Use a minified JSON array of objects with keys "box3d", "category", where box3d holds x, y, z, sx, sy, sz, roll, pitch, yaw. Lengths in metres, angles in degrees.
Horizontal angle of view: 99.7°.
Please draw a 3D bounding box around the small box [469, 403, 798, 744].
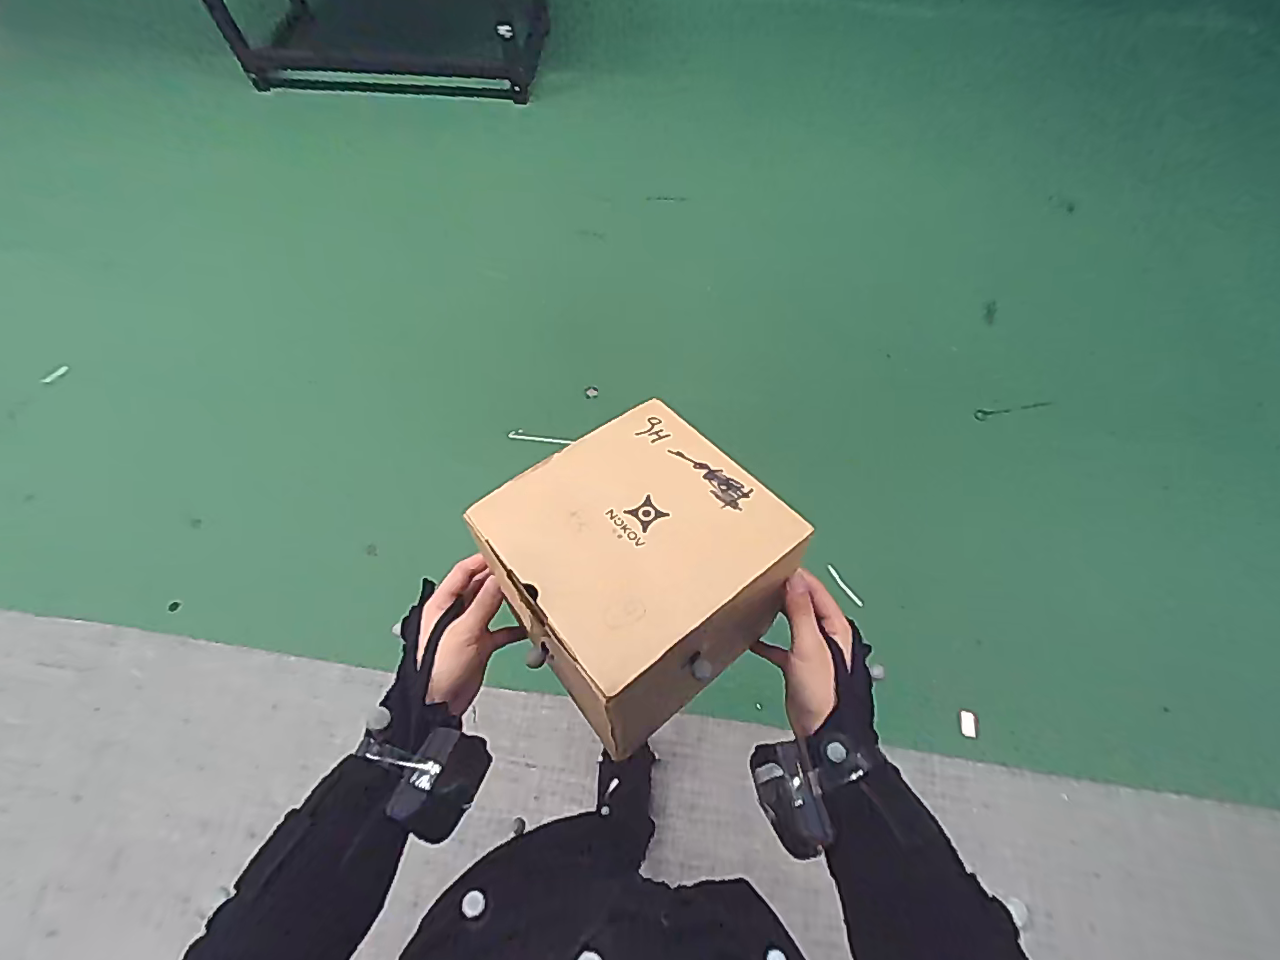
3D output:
[{"box3d":[-0.004,0.077,0.437,0.179,0.176,0.168,-33,58,-22],"category":"small box"}]
